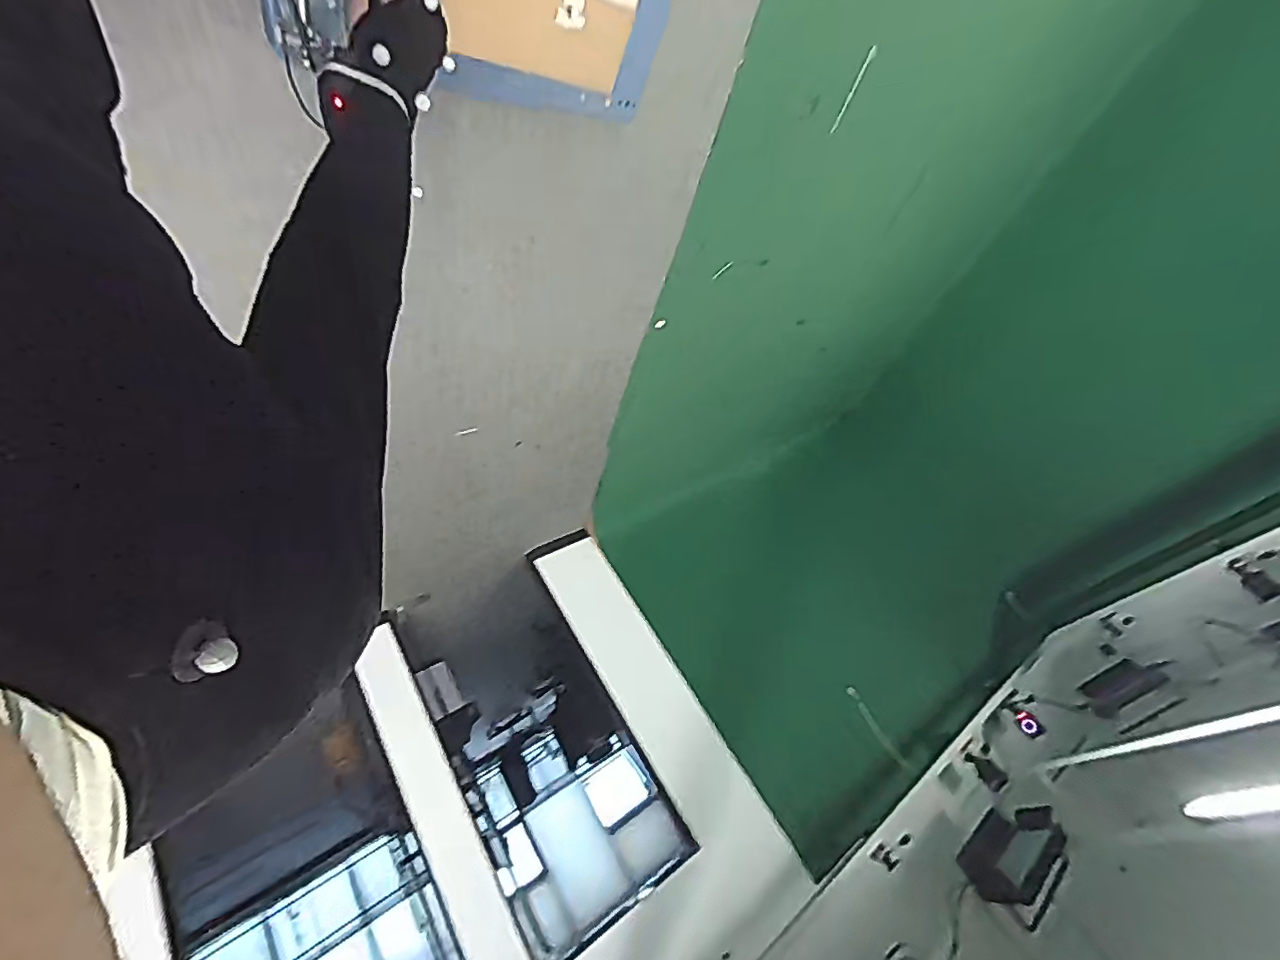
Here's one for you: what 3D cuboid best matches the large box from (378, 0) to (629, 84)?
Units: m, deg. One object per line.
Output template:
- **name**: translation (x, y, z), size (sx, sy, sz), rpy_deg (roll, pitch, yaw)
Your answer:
- **large box**: translation (-0.250, -0.961, 0.936), size (0.408, 0.320, 0.320), rpy_deg (-17, 151, -38)
